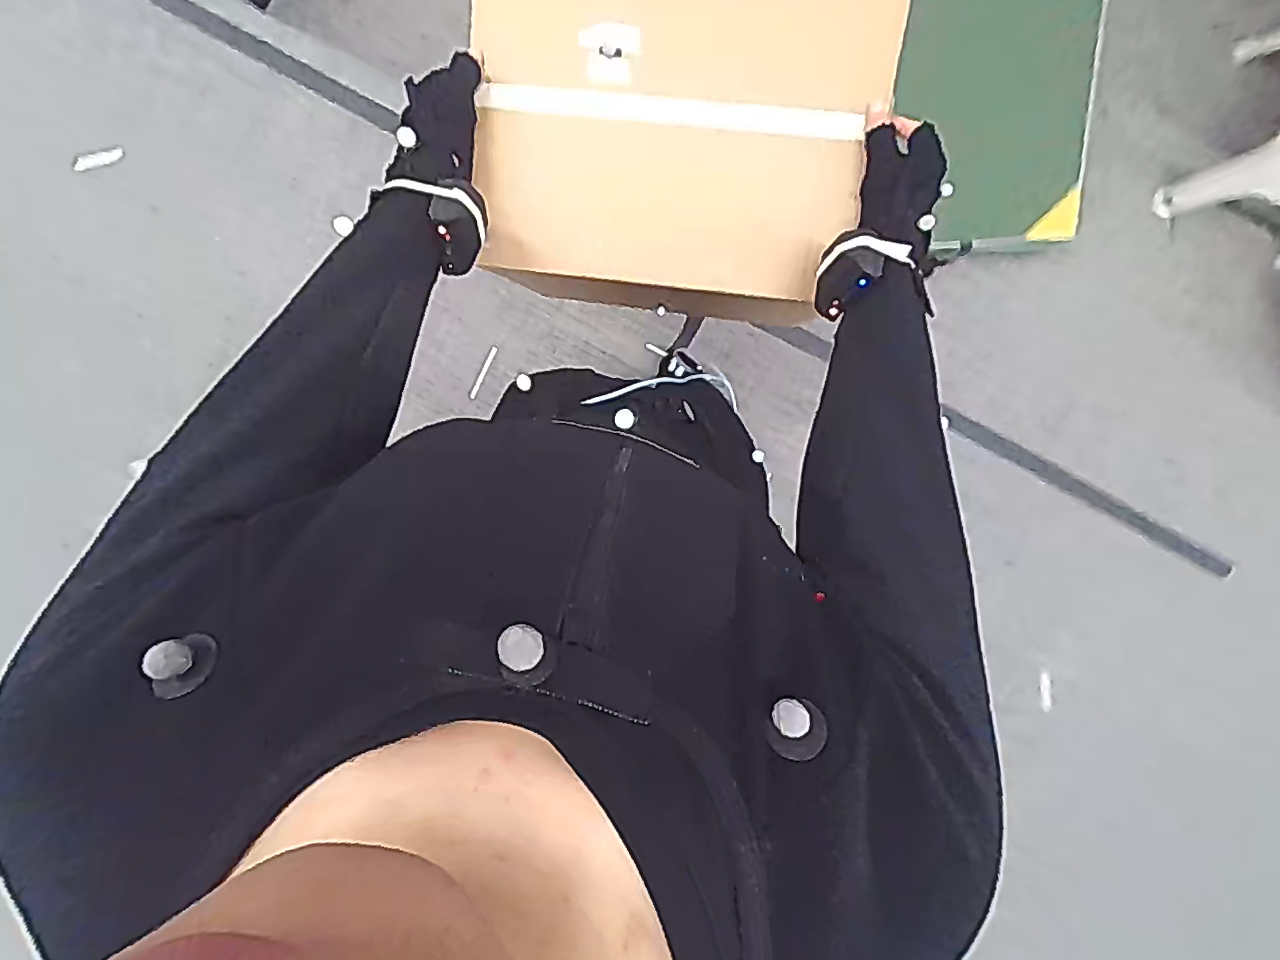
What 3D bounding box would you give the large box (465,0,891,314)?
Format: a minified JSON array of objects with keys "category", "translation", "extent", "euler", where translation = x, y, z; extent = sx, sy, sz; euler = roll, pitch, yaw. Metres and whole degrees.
[{"category":"large box","translation":[0.040,-0.392,0.674],"extent":[0.408,0.320,0.320],"euler":[8,102,4]}]
